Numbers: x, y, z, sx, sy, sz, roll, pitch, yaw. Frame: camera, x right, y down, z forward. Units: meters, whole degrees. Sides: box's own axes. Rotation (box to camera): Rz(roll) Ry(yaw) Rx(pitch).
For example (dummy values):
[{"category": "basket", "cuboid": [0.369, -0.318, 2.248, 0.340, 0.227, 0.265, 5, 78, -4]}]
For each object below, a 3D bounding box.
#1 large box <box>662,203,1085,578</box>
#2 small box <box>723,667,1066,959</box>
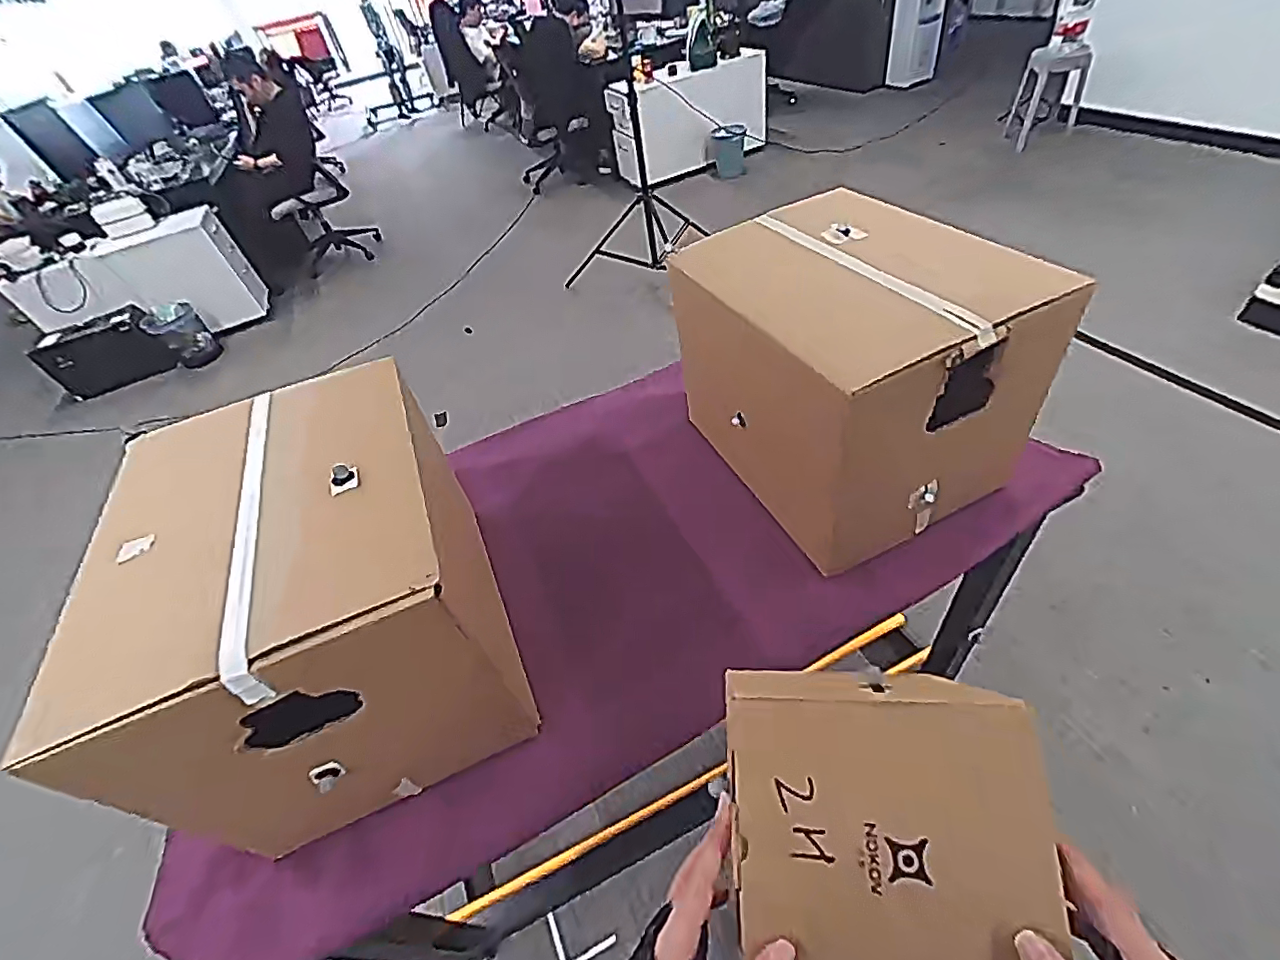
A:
[{"category": "large box", "cuboid": [0.276, -0.144, 0.770, 0.320, 0.320, 0.408, -24, 45, -11]}, {"category": "small box", "cuboid": [0.150, 0.227, 0.384, 0.179, 0.176, 0.168, -2, 75, 8]}]
